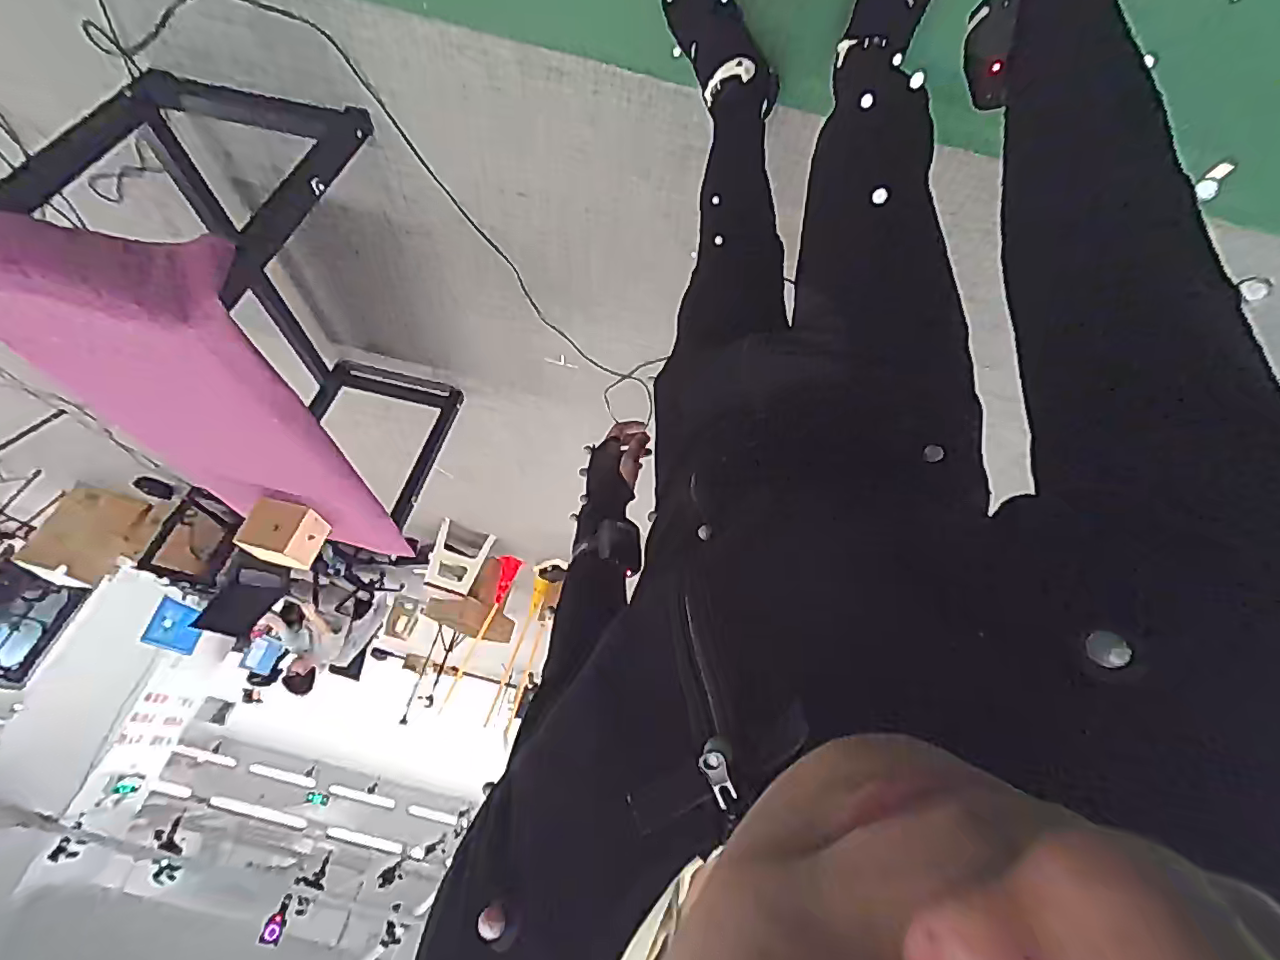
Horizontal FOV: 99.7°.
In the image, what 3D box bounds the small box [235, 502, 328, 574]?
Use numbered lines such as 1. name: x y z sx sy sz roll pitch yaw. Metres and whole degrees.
1. small box: -1.167 0.189 1.782 0.179 0.176 0.168 12 151 3
